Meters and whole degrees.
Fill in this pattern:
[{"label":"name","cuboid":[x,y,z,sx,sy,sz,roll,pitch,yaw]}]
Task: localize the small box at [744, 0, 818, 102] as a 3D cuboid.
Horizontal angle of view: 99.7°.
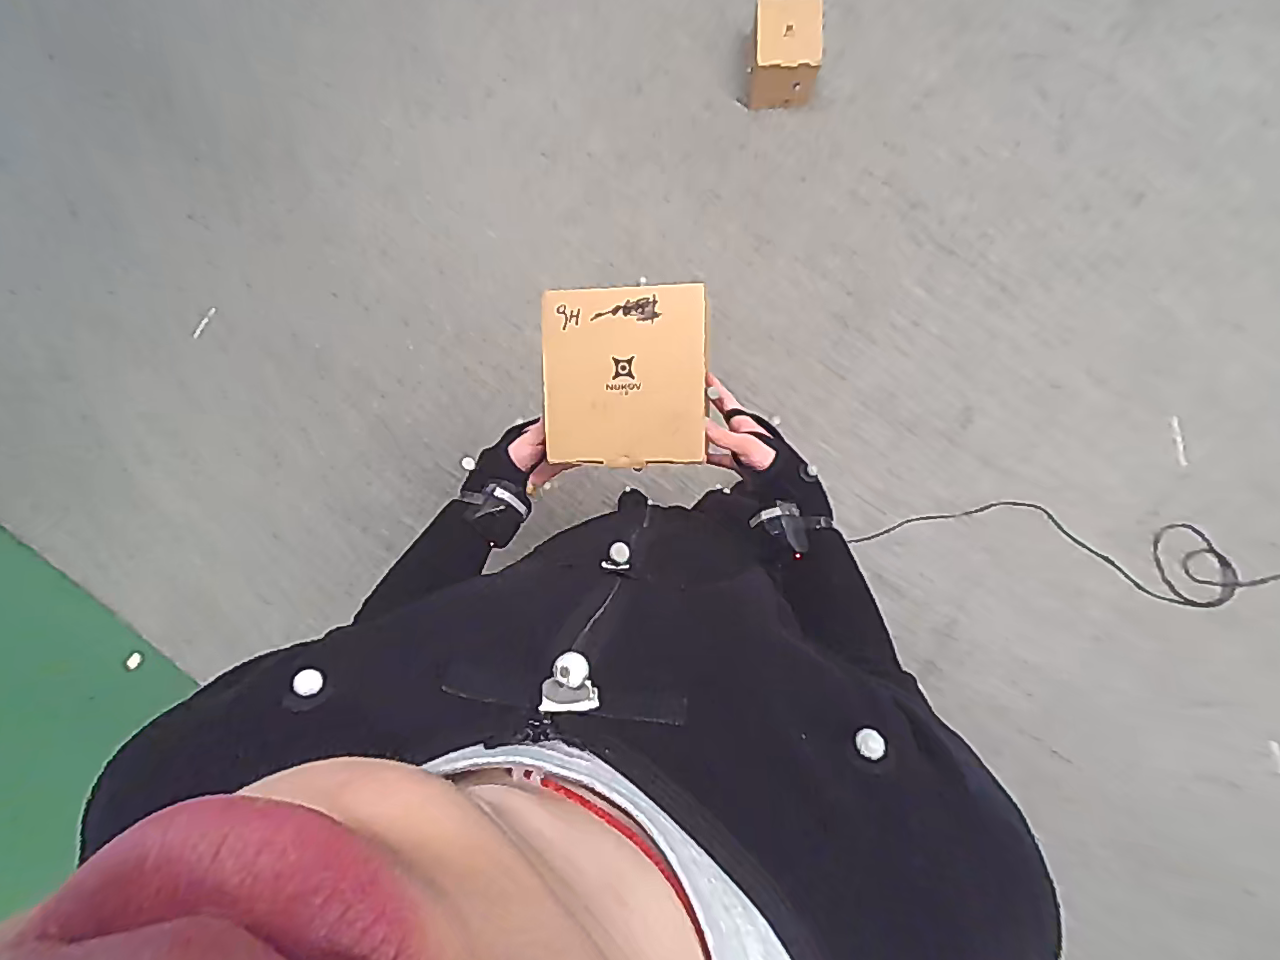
[{"label":"small box","cuboid":[0.375,-1.154,1.454,0.168,0.176,0.179,-1,89,2]}]
